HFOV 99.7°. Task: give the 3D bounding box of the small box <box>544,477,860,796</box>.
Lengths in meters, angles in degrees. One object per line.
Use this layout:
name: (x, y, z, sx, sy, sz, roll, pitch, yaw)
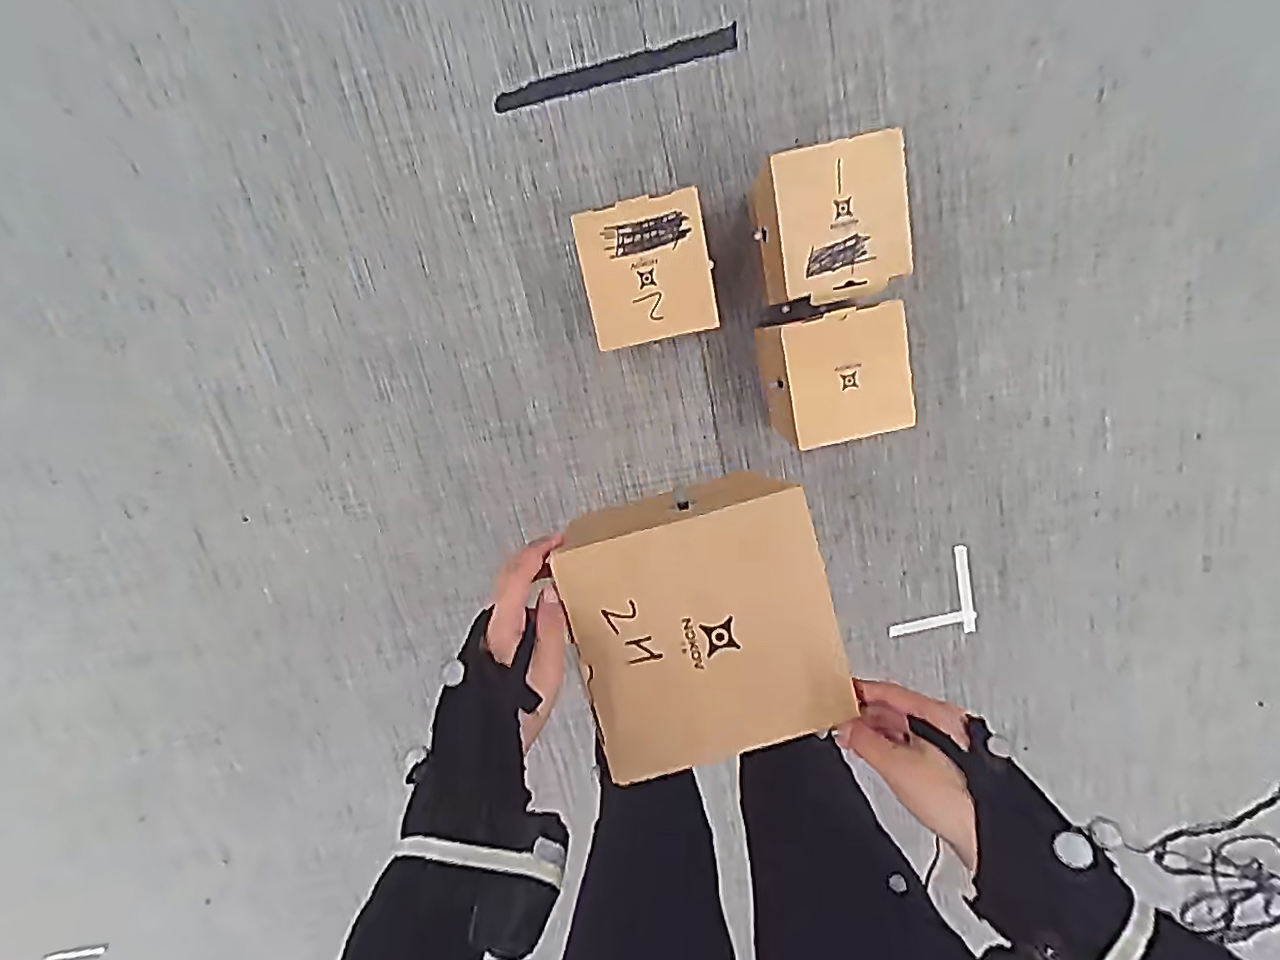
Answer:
small box: (0.039, 0.099, 0.426, 0.179, 0.176, 0.168, -16, 94, 0)
